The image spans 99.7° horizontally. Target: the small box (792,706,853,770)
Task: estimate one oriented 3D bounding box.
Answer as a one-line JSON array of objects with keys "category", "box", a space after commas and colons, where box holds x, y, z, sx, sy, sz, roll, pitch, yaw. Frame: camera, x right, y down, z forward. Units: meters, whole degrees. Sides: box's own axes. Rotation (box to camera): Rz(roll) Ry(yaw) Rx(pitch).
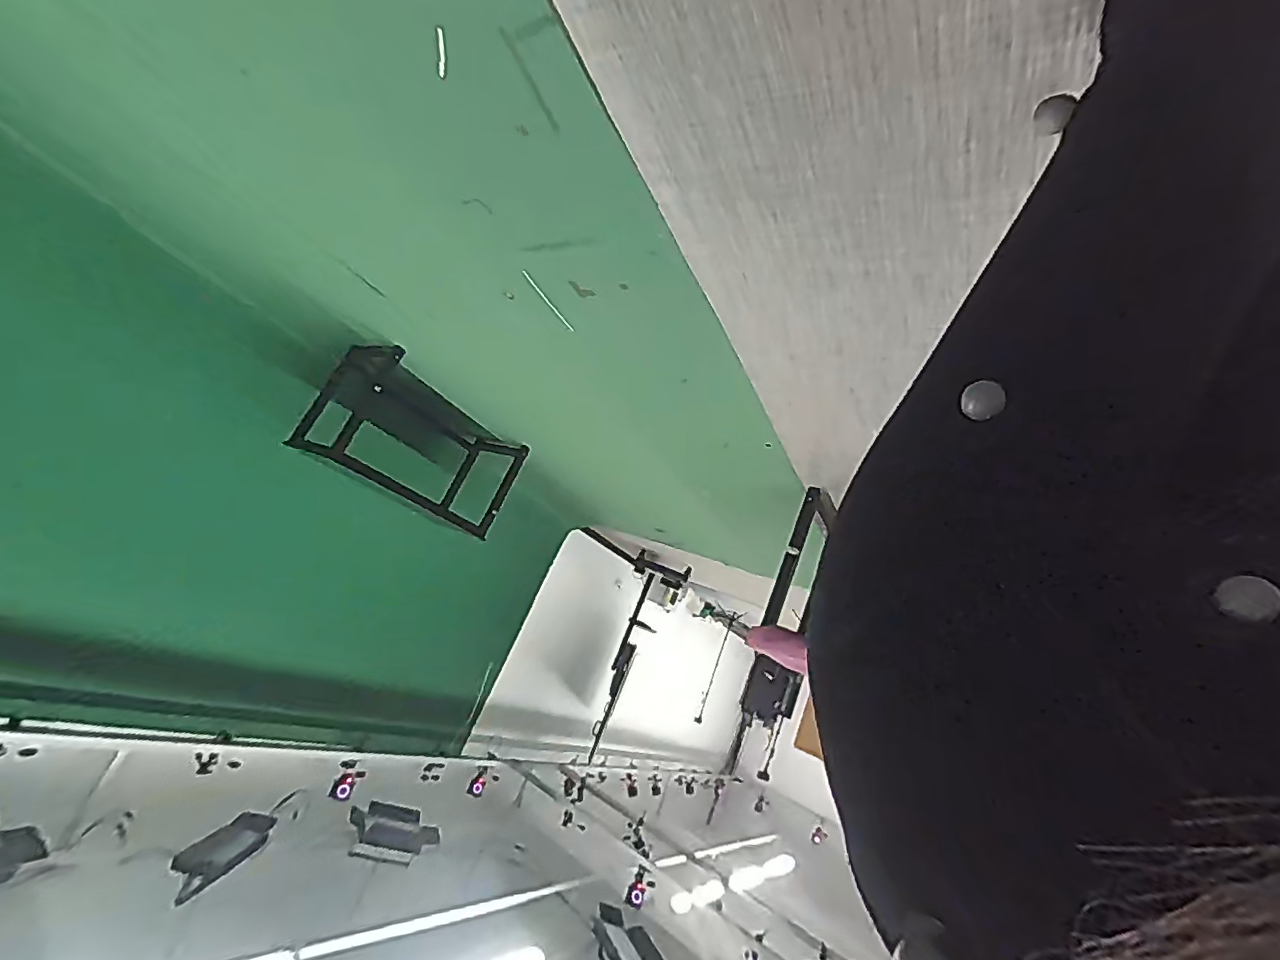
[{"category": "small box", "box": [0.710, 0.995, 2.090, 0.168, 0.176, 0.179, 12, 160, 35]}]
